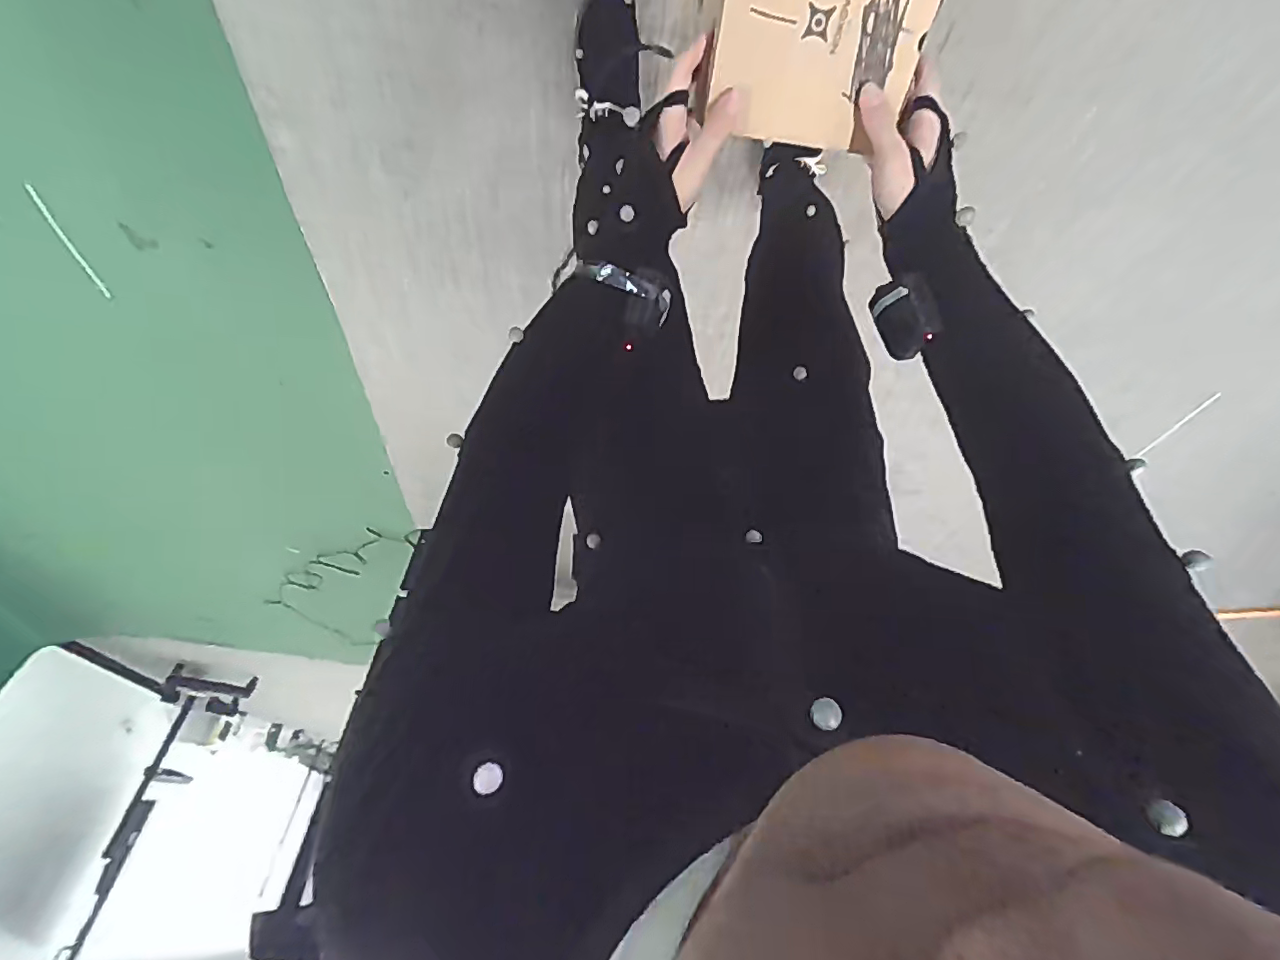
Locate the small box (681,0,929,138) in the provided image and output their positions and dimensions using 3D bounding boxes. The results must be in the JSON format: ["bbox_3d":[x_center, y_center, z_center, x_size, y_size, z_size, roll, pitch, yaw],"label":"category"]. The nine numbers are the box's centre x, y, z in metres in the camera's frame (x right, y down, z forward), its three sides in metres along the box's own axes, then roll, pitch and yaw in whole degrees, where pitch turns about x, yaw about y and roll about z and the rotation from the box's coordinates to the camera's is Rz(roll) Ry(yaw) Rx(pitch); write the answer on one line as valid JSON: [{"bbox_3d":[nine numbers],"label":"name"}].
[{"bbox_3d":[0.143,-0.435,0.494,0.179,0.176,0.168,4,131,-6],"label":"small box"}]
